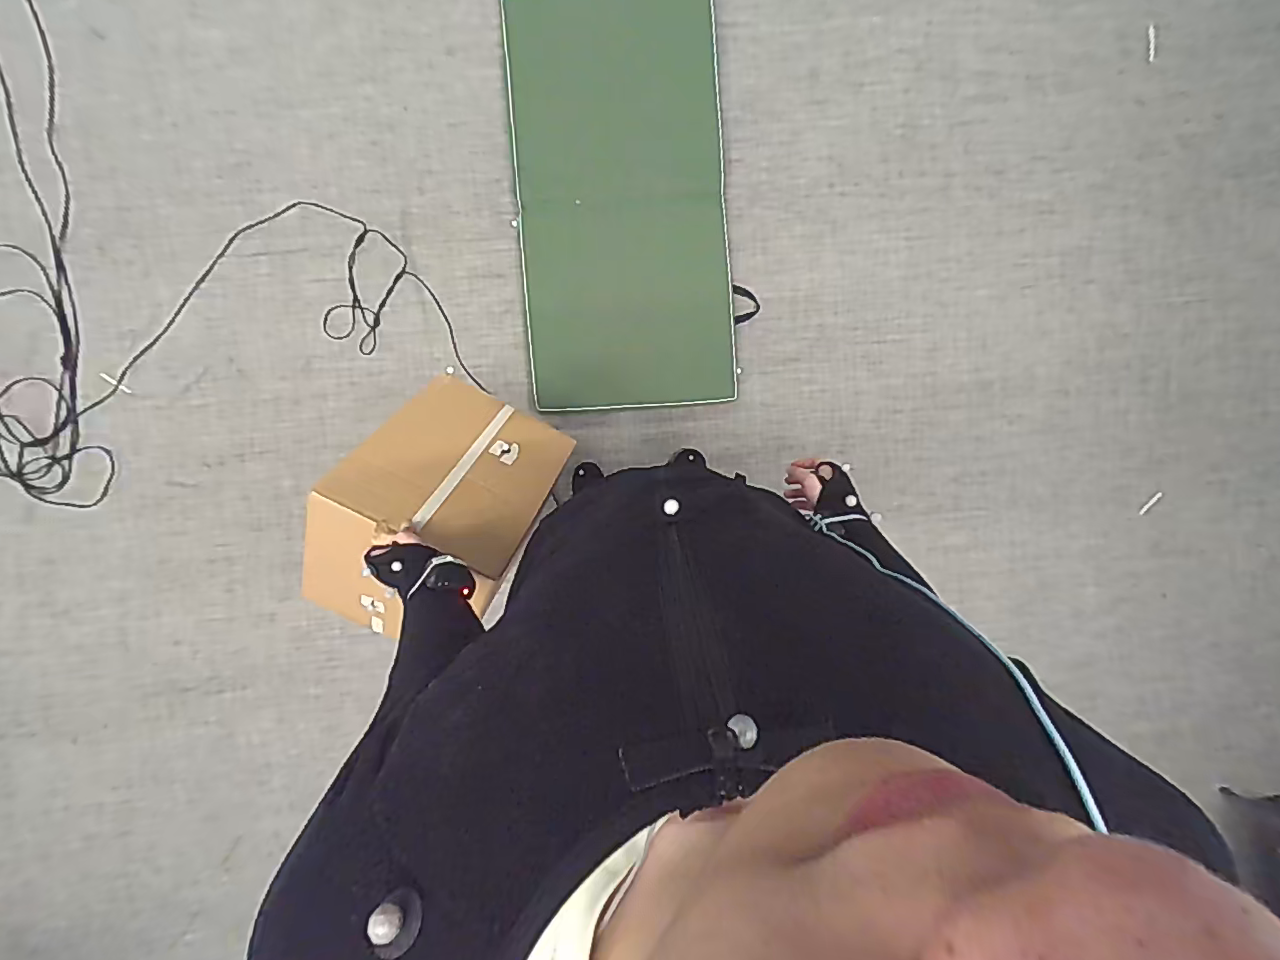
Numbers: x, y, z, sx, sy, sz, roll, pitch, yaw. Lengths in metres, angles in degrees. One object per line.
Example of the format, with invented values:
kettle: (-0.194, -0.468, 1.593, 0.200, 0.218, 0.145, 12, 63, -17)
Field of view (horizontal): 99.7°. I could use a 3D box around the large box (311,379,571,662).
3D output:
large box: (-0.381, 0.074, 1.079, 0.320, 0.408, 0.320, 28, 128, -7)
